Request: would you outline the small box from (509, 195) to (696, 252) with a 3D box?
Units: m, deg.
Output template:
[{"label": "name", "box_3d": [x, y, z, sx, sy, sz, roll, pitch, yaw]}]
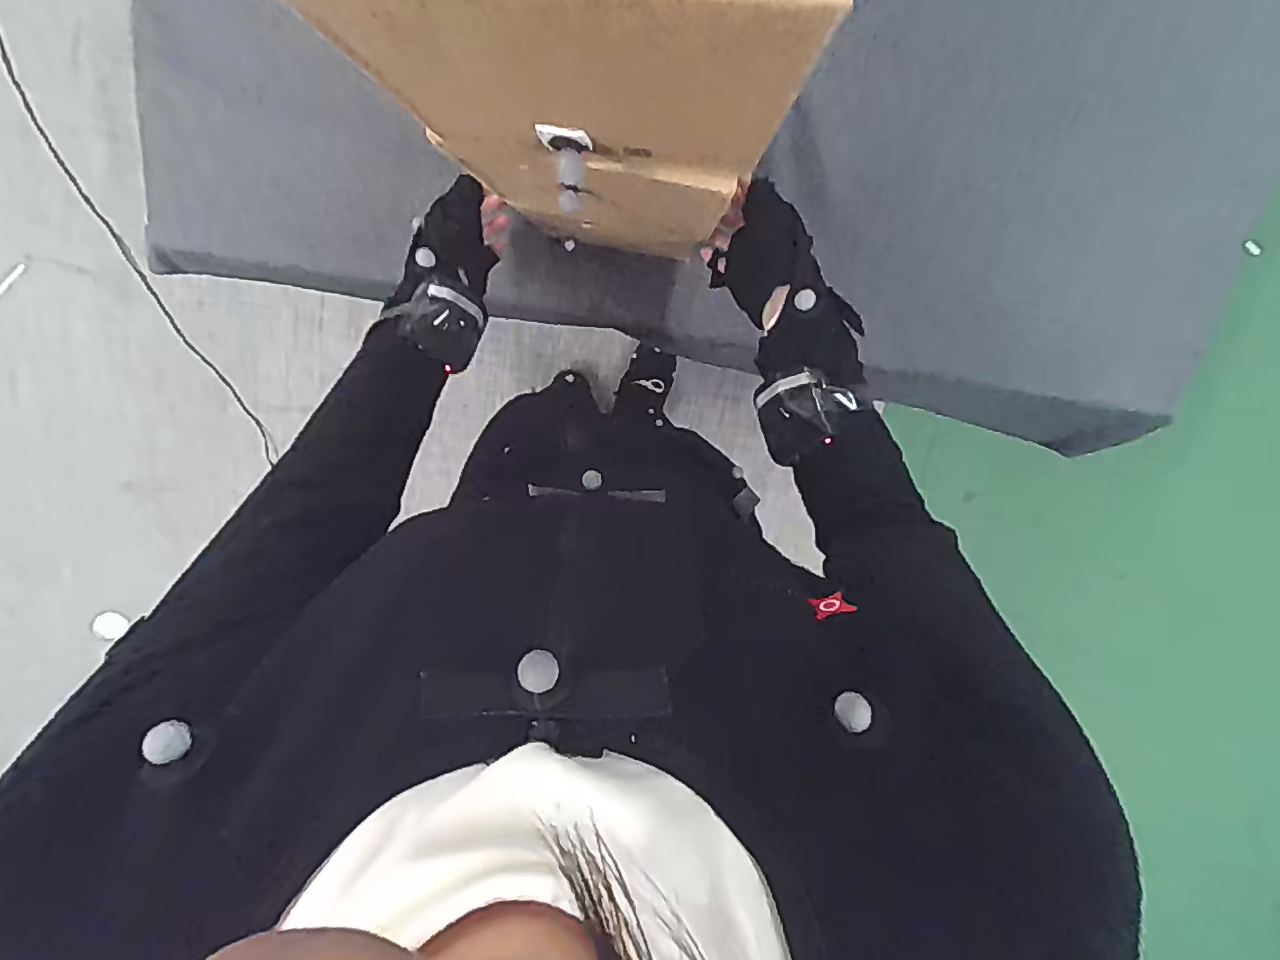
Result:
[{"label": "small box", "box_3d": [-0.015, -0.328, 0.511, 0.168, 0.176, 0.179, 9, 104, 0]}]

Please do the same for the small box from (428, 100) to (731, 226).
[{"label": "small box", "box_3d": [-0.019, -0.280, 0.357, 0.179, 0.176, 0.168, 7, 104, 0]}]

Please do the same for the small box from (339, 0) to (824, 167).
[{"label": "small box", "box_3d": [-0.020, -0.240, 0.197, 0.168, 0.176, 0.179, 5, 106, 2]}]
